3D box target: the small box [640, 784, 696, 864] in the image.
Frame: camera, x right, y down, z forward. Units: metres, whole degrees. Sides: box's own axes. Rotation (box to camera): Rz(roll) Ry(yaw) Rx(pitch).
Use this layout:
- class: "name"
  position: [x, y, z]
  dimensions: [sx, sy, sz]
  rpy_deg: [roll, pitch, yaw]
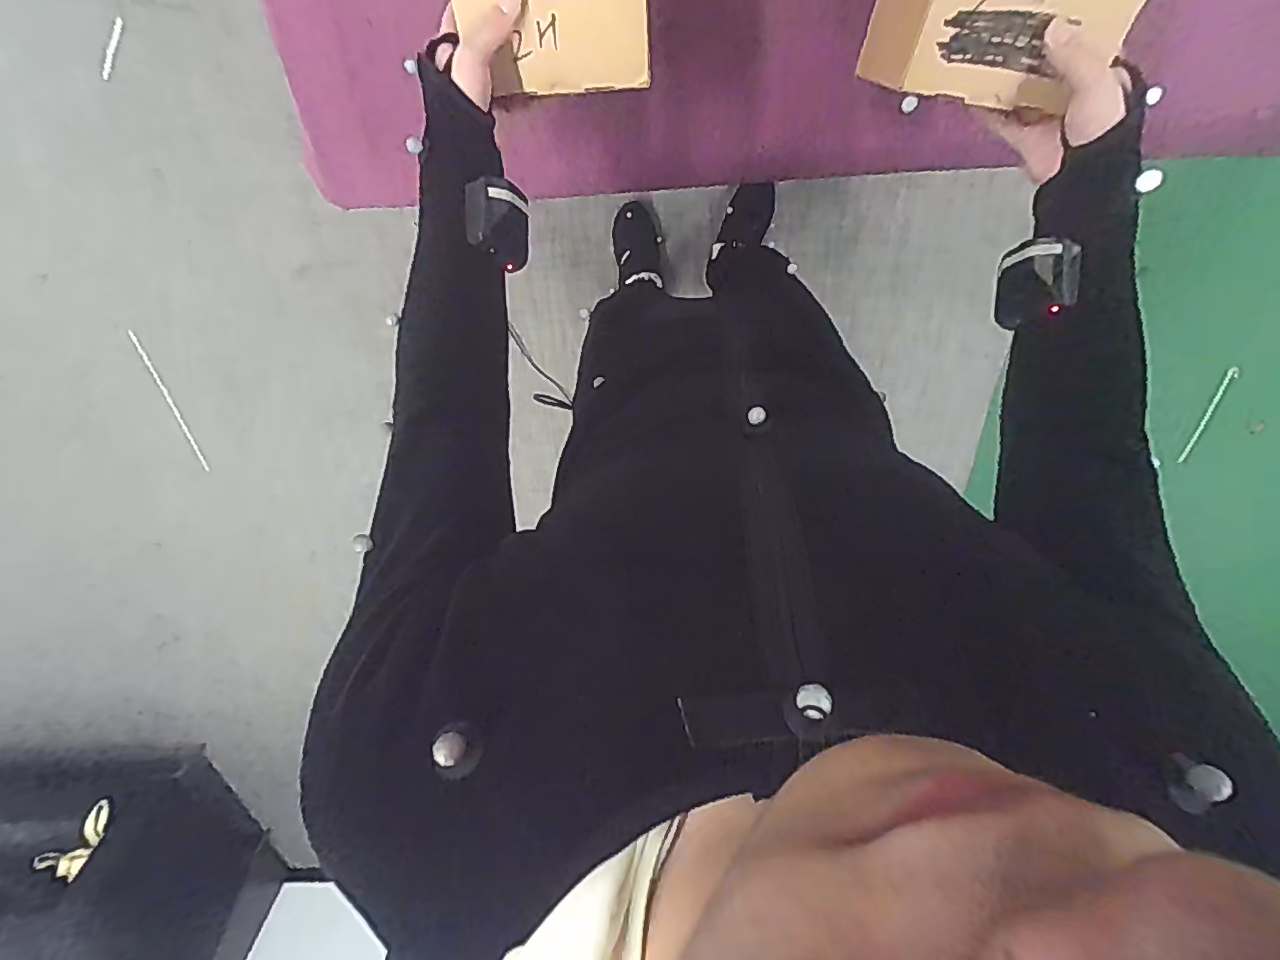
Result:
- class: "small box"
  position: [0.090, 1.134, 1.788]
  dimensions: [0.168, 0.176, 0.179]
  rpy_deg: [5, 122, -1]

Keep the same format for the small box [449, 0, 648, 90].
- class: "small box"
  position: [-0.078, -0.471, 0.488]
  dimensions: [0.168, 0.176, 0.179]
  rpy_deg: [-2, 132, 2]
